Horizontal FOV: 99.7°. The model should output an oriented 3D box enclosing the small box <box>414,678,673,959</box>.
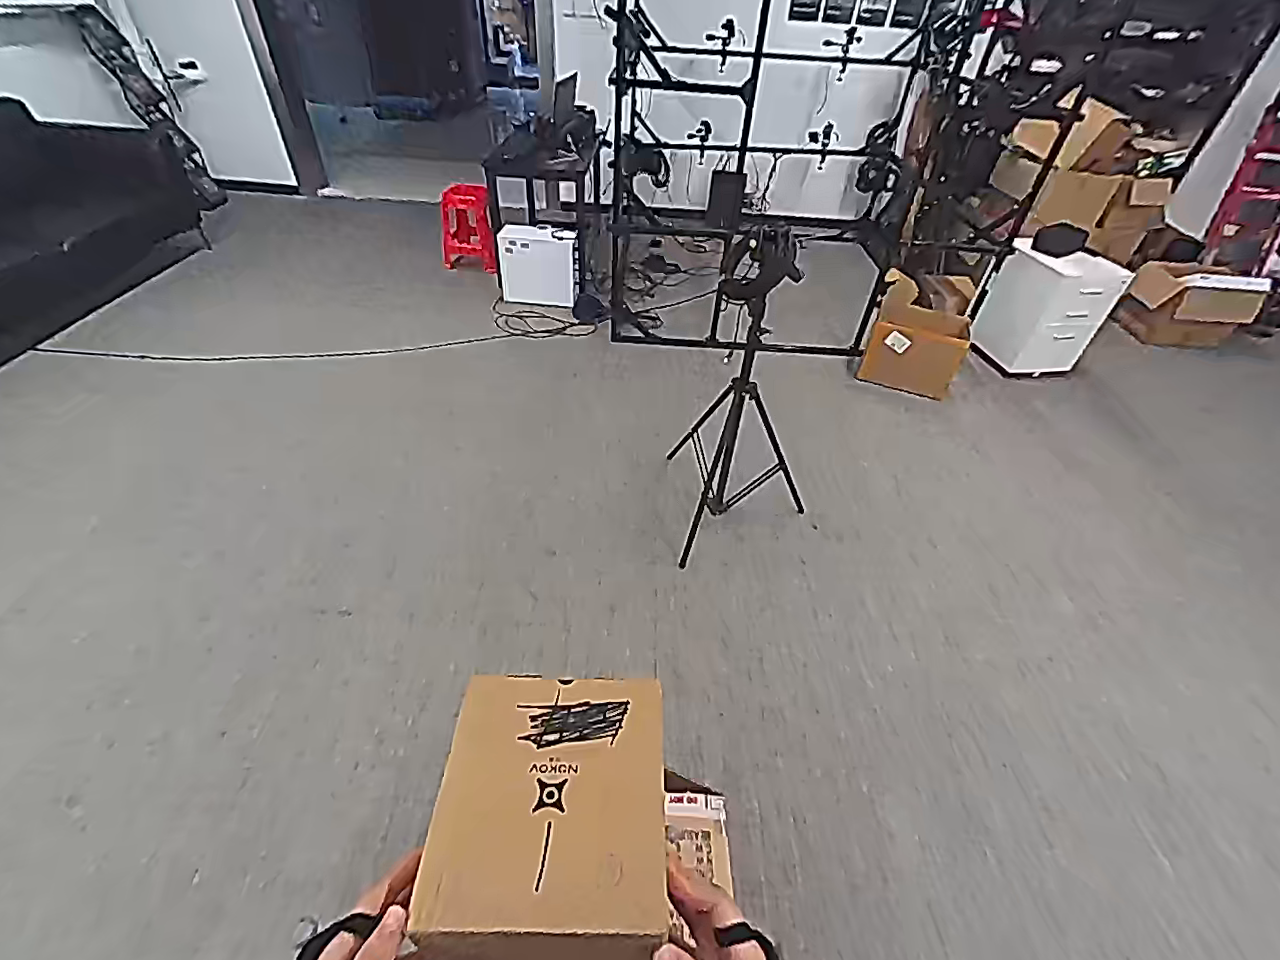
[{"bbox_3d":[-0.063,0.289,0.449,0.168,0.176,0.179,1,38,-1],"label":"small box"}]
